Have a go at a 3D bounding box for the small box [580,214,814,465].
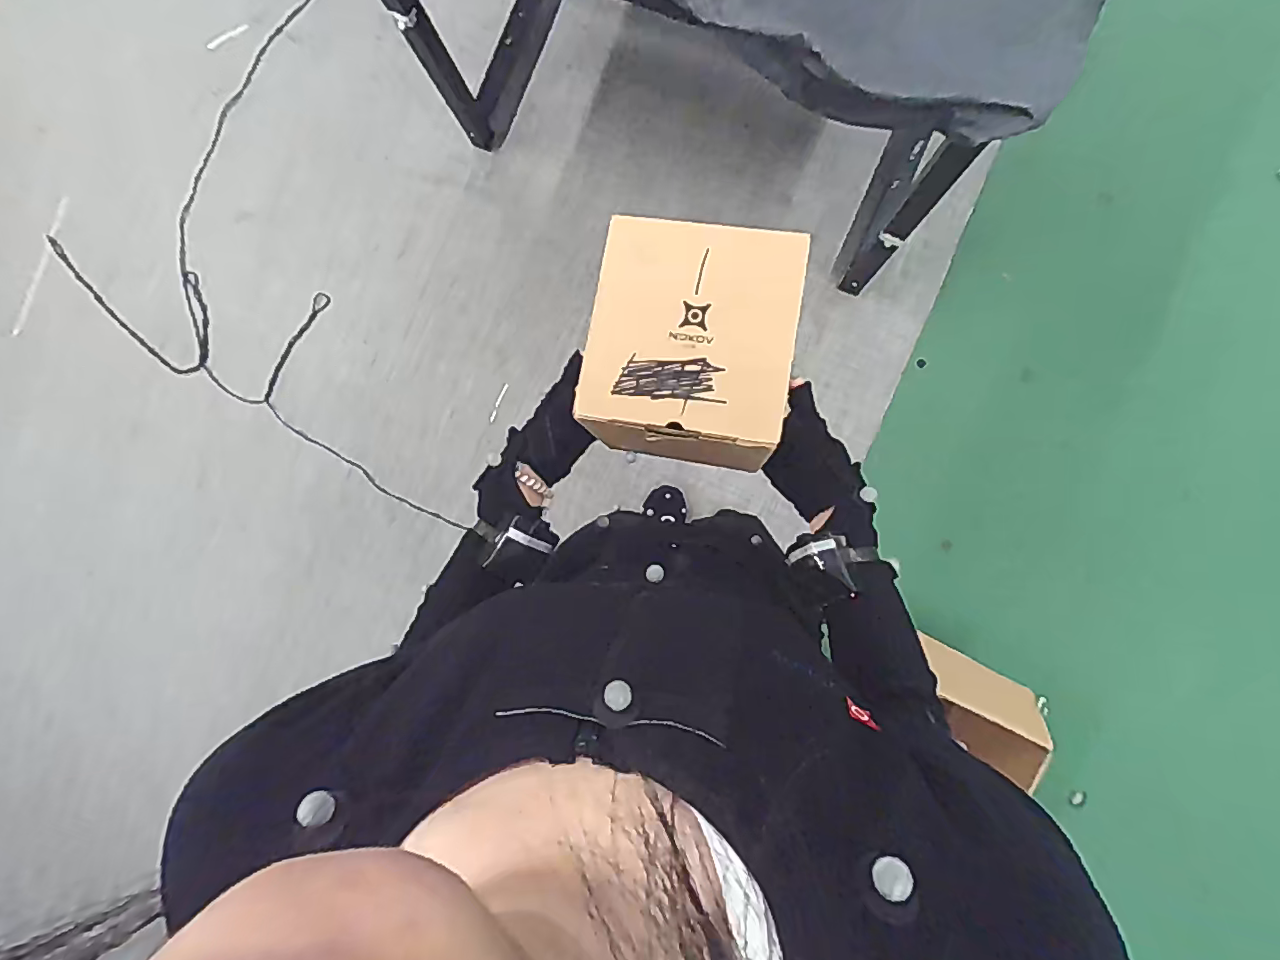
[{"bbox_3d":[0.054,-0.116,0.513,0.168,0.176,0.179,10,85,7],"label":"small box"}]
